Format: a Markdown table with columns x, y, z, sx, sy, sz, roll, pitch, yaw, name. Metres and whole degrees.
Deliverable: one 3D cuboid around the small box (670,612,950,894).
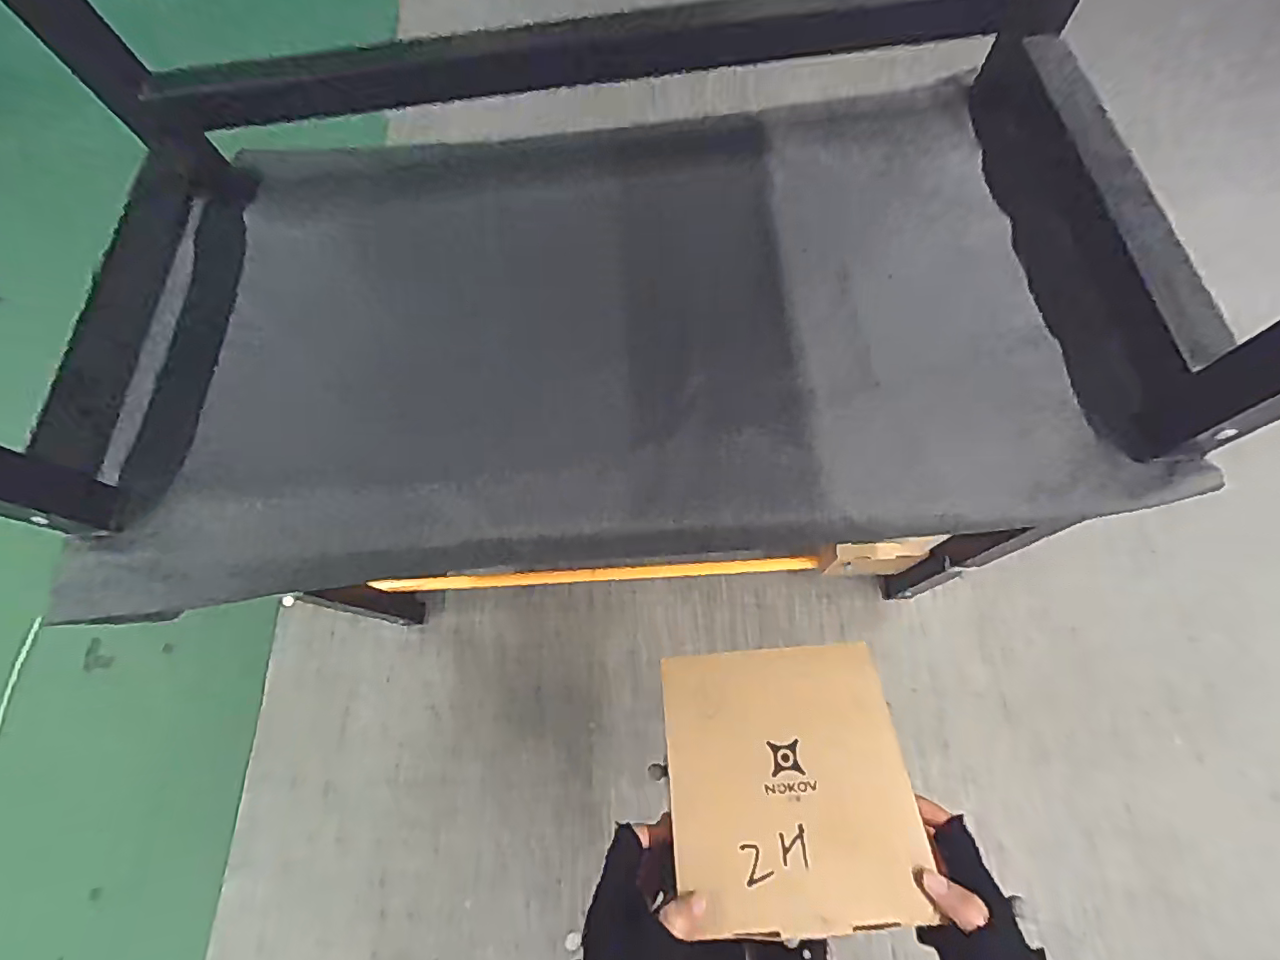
| x | y | z | sx | sy | sz | roll | pitch | yaw | name |
| --- | --- | --- | --- | --- | --- | --- | --- | --- | --- |
| 0.112 | 0.227 | 0.448 | 0.168 | 0.176 | 0.179 | -5 | 55 | 2 | small box |
